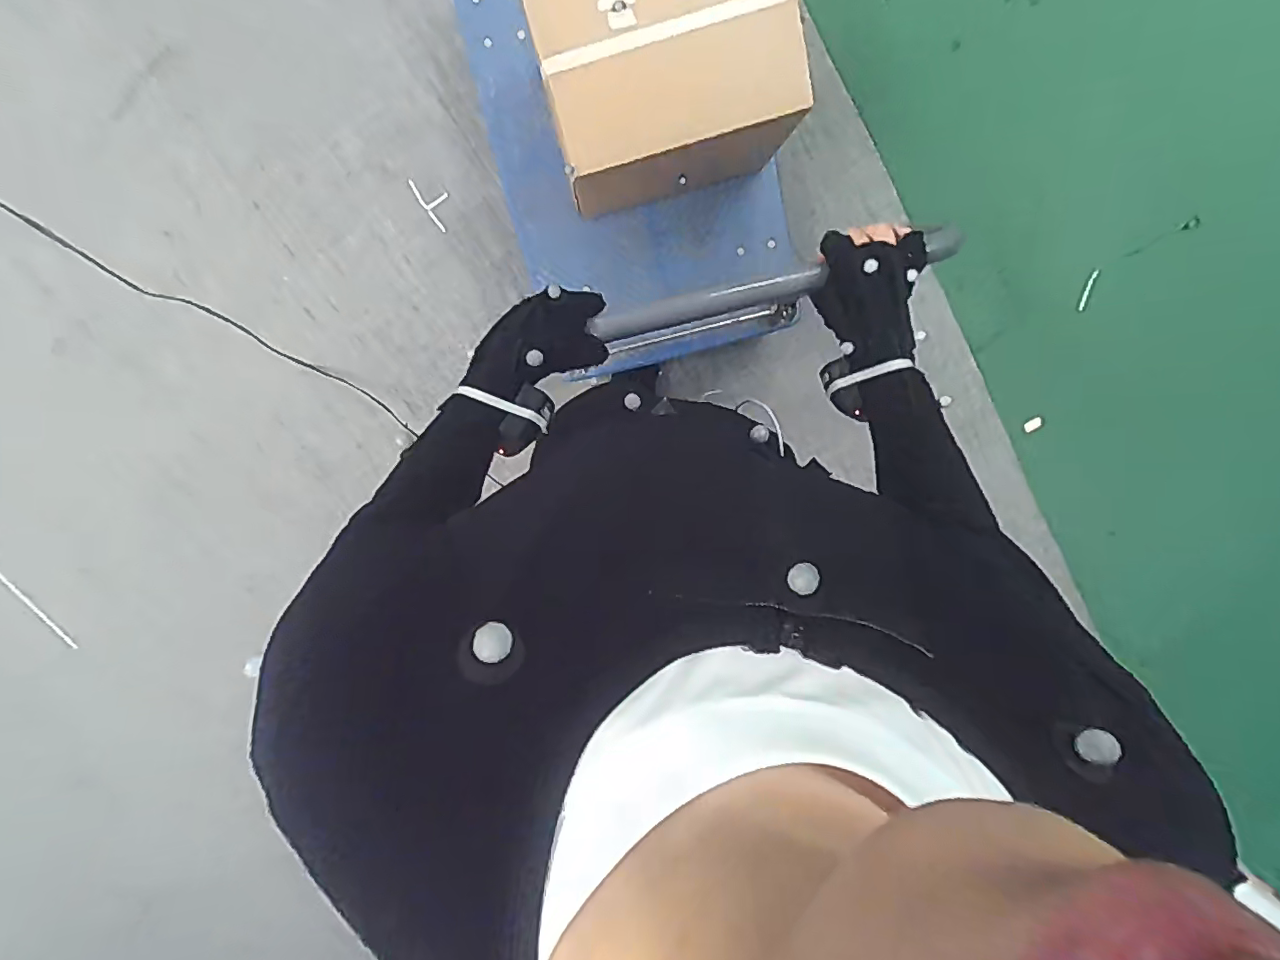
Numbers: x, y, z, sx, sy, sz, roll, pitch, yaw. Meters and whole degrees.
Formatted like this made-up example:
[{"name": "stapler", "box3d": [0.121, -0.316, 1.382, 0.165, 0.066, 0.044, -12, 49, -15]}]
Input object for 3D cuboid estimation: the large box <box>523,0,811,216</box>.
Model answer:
[{"name": "large box", "box3d": [0.042, -0.731, 0.991, 0.408, 0.320, 0.320, -17, 104, 3]}]
